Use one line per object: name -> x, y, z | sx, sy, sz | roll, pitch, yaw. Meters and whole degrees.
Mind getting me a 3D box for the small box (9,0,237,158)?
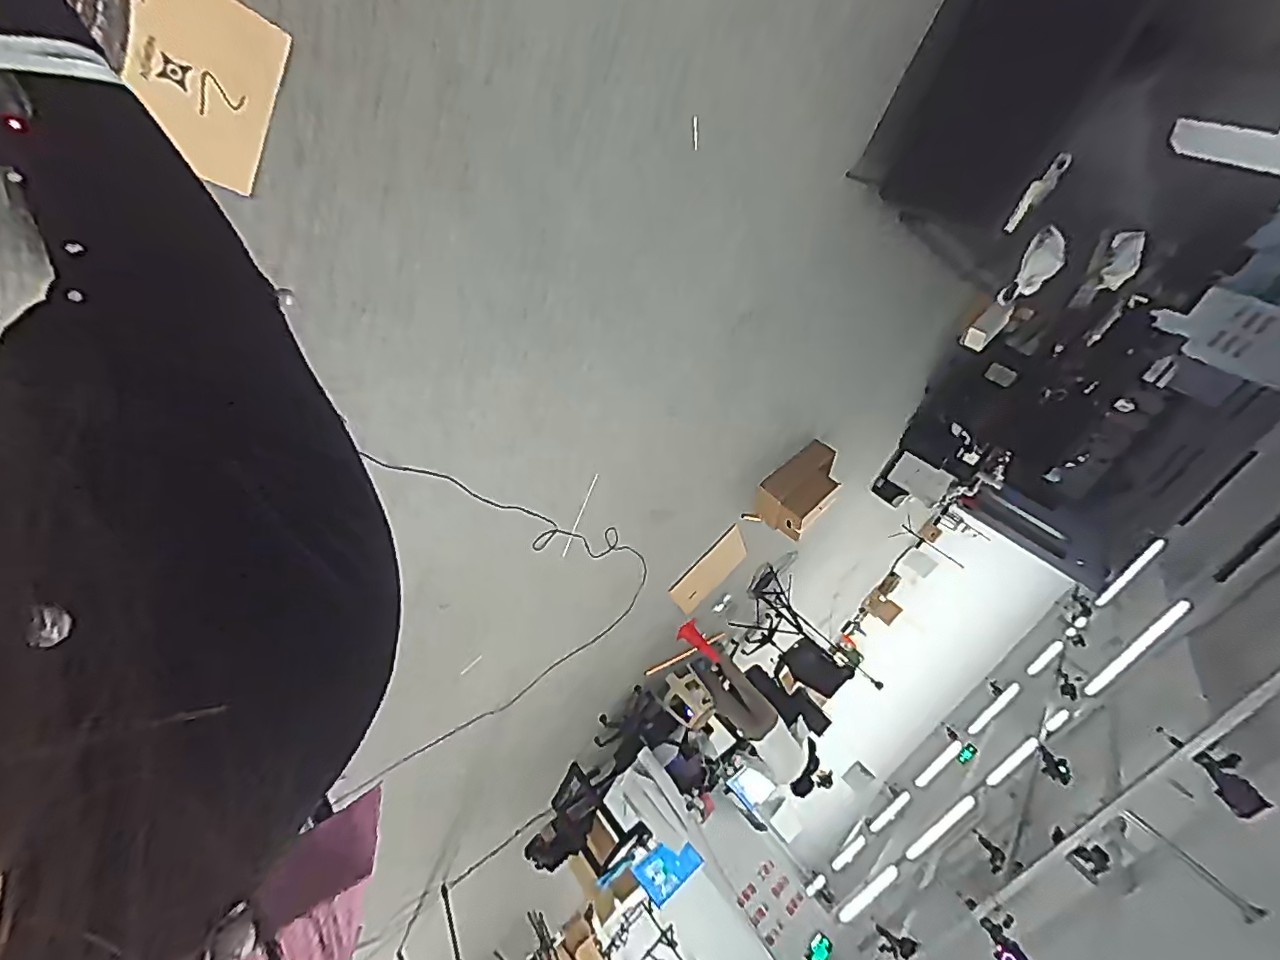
small box -> -0.597, -0.514, 0.623 | 0.168, 0.176, 0.179 | -1, 123, -51
